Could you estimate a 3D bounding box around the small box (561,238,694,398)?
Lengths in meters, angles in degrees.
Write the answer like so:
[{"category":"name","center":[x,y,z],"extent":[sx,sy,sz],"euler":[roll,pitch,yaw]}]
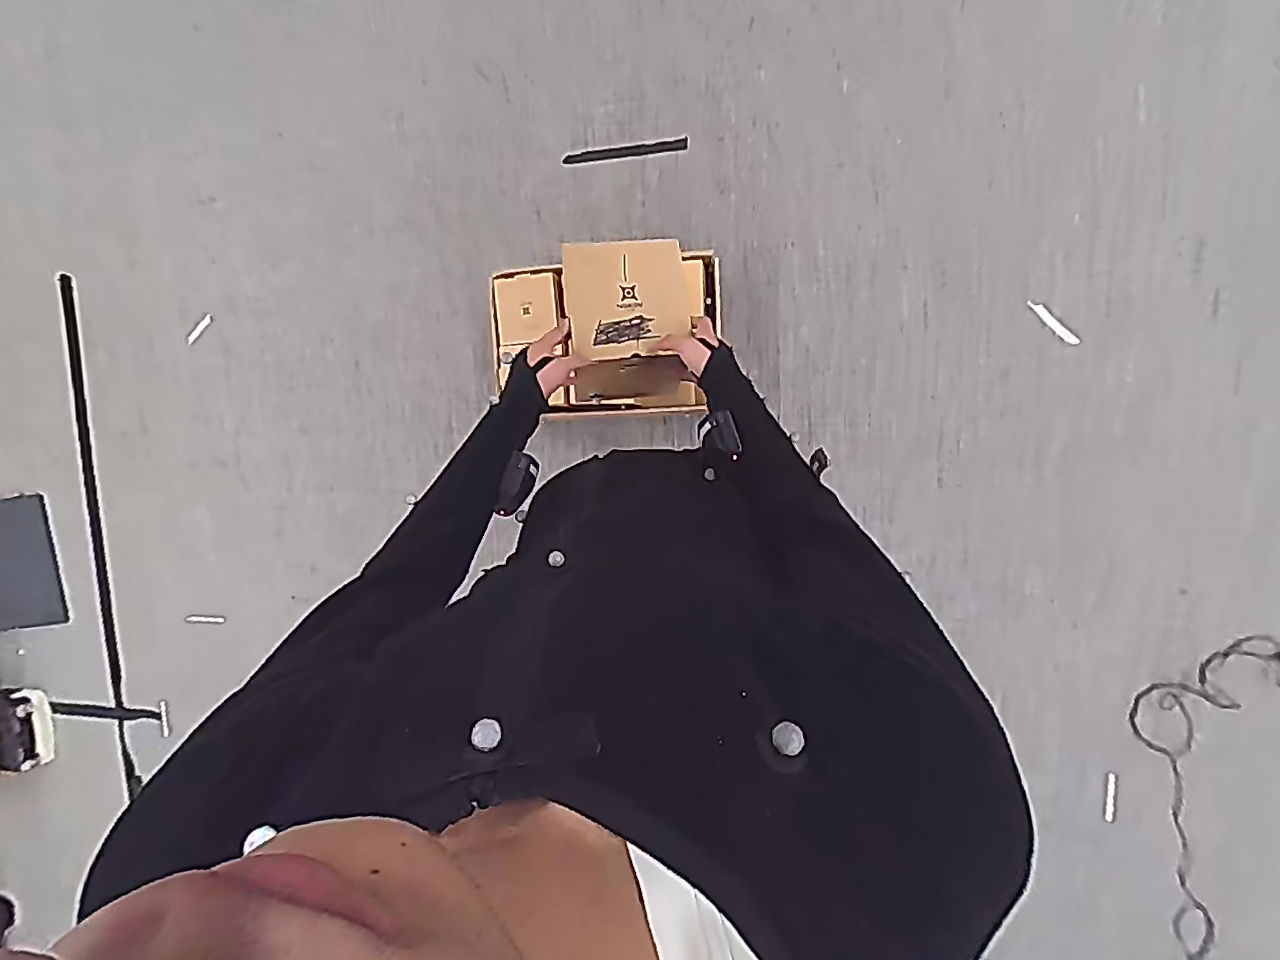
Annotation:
[{"category":"small box","center":[-0.024,-0.228,0.802],"extent":[0.168,0.176,0.179],"euler":[-6,80,-7]}]
